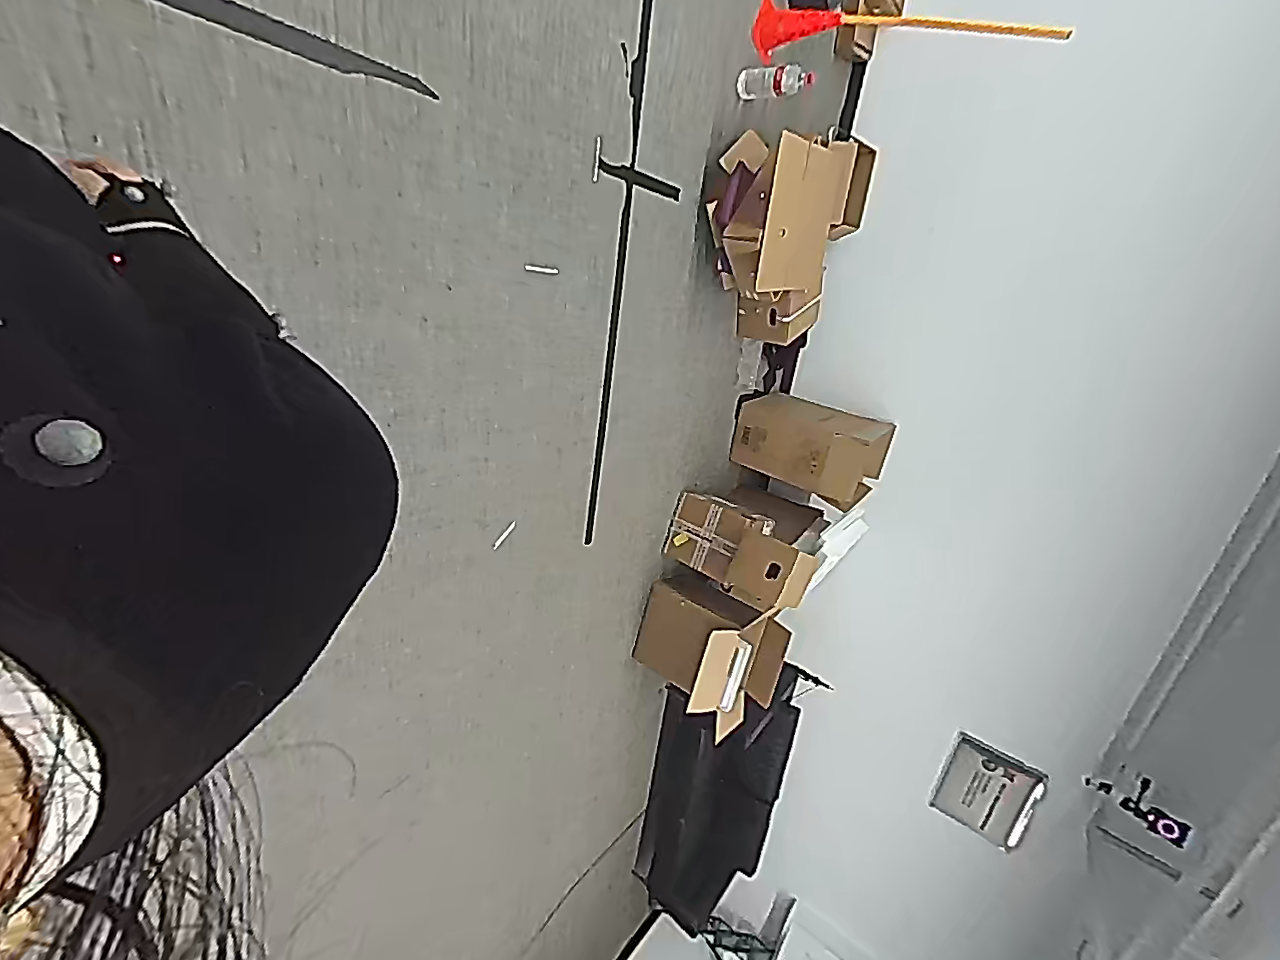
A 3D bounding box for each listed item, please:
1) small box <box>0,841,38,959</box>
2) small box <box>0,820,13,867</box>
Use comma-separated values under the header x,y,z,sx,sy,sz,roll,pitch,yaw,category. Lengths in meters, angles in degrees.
x,y,z,sx,sy,sz,roll,pitch,yaw,category
-1.270,0.813,0.991,0.179,0.176,0.168,-22,125,-50,small box
-1.405,0.766,1.074,0.179,0.176,0.168,-25,128,-48,small box
